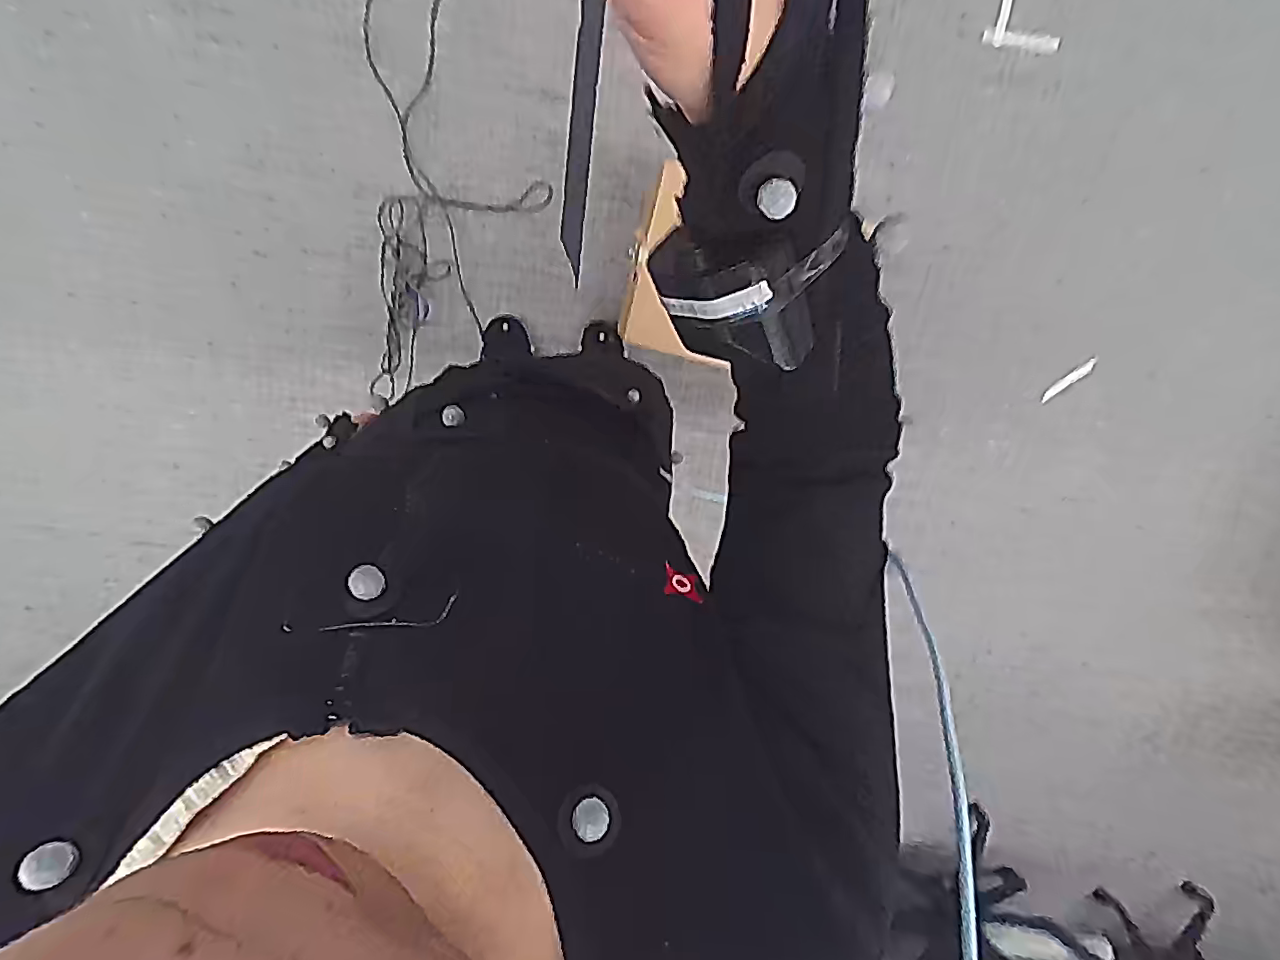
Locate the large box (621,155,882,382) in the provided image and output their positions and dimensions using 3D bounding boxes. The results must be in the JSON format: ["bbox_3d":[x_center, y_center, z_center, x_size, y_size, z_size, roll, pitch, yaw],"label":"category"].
[{"bbox_3d":[0.192,-0.412,1.114,0.408,0.320,0.320,12,107,-9],"label":"large box"}]
